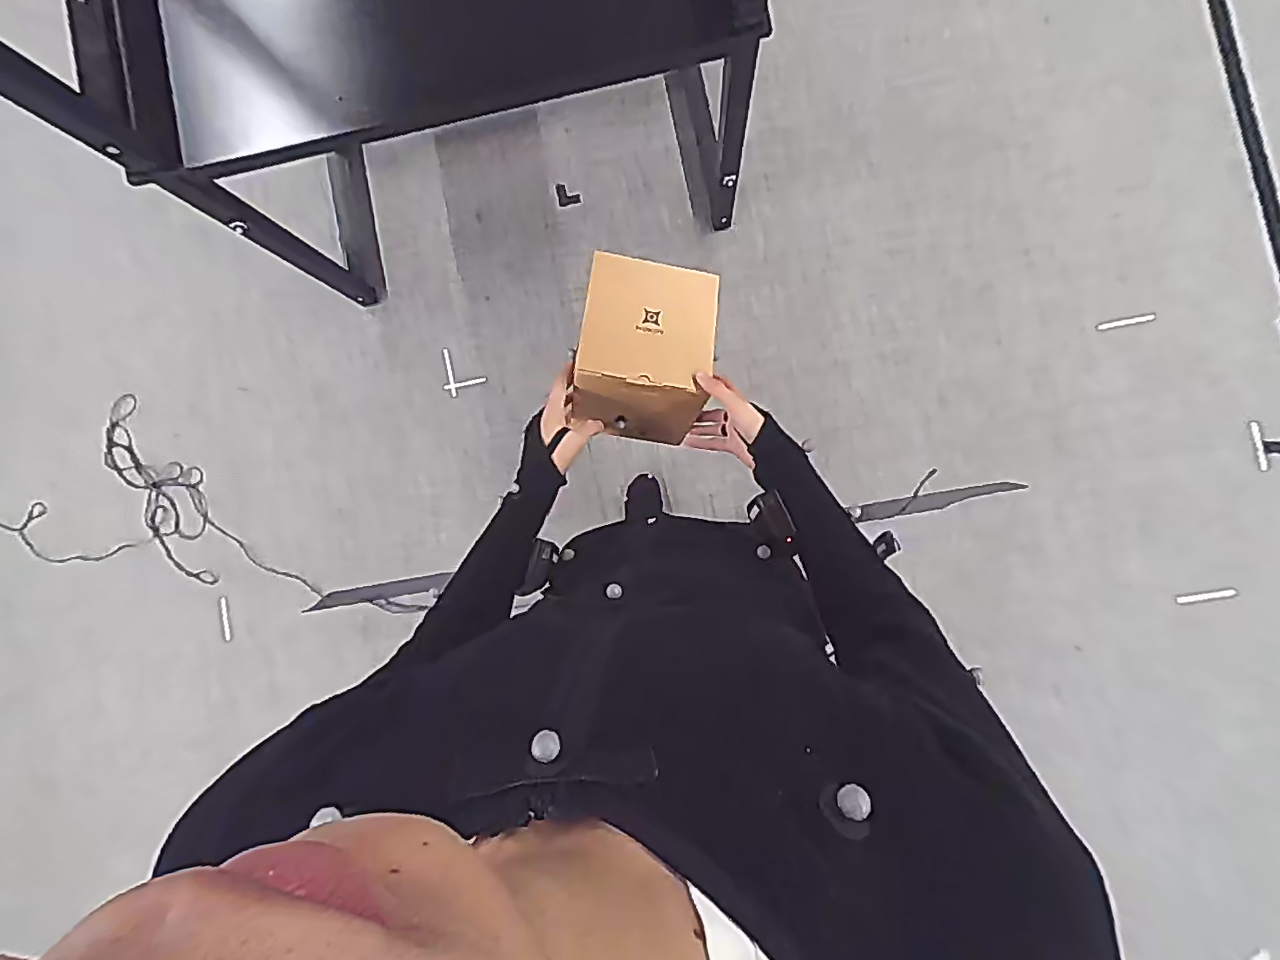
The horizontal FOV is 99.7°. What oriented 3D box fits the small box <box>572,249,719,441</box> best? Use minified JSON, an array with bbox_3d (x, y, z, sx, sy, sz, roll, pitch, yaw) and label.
[{"bbox_3d":[0.001,-0.172,0.735,0.168,0.176,0.179,8,71,-7],"label":"small box"}]
